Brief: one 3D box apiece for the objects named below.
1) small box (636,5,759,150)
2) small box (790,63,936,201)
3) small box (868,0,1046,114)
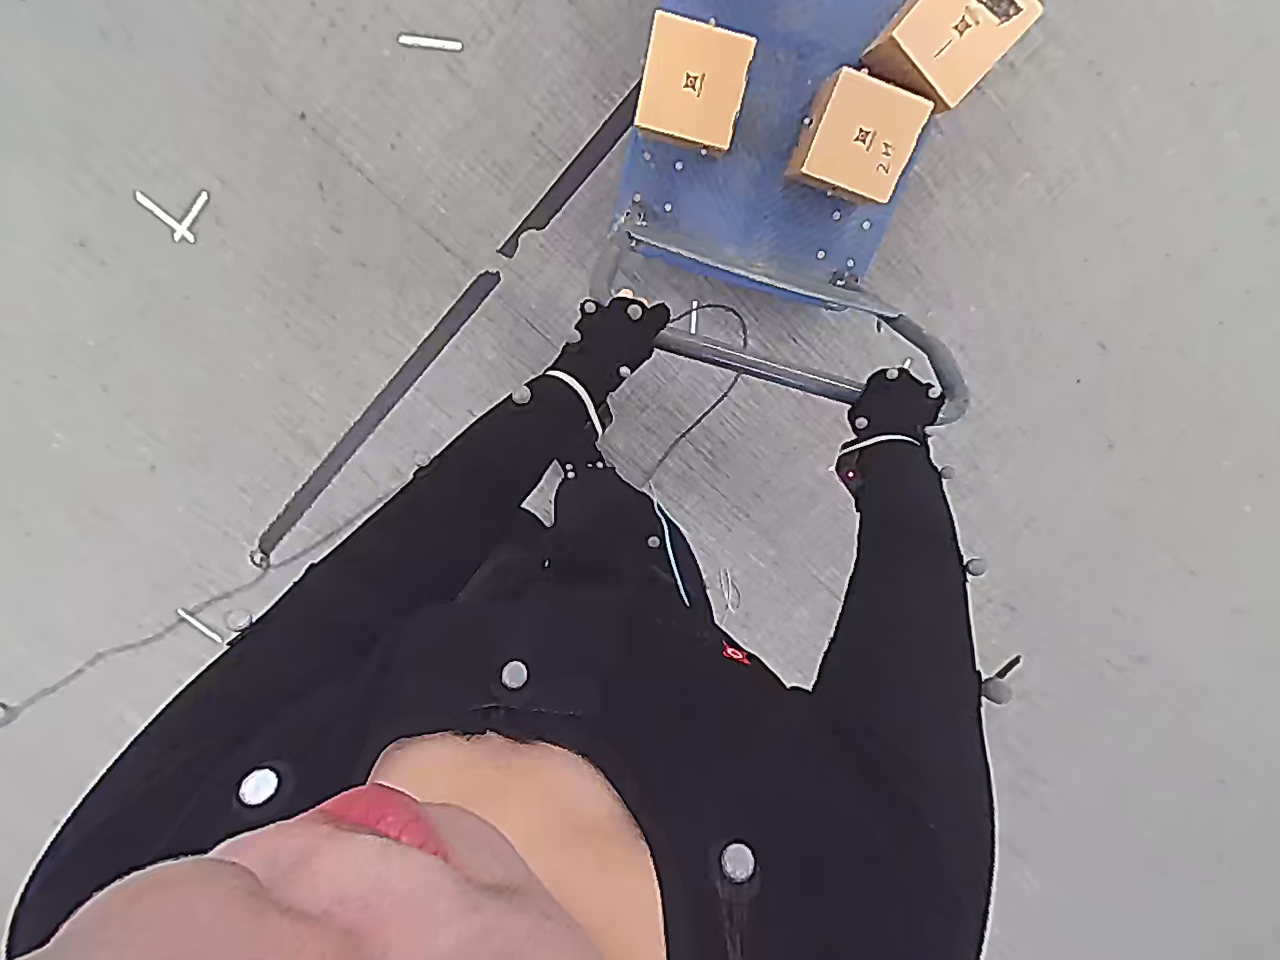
[{"bbox_3d":[0.097,-0.723,0.993,0.179,0.176,0.168,12,117,-5],"label":"small box"},{"bbox_3d":[0.403,-0.640,1.017,0.179,0.176,0.168,18,117,-6],"label":"small box"},{"bbox_3d":[0.535,-0.777,0.940,0.168,0.176,0.179,39,114,-15],"label":"small box"}]
